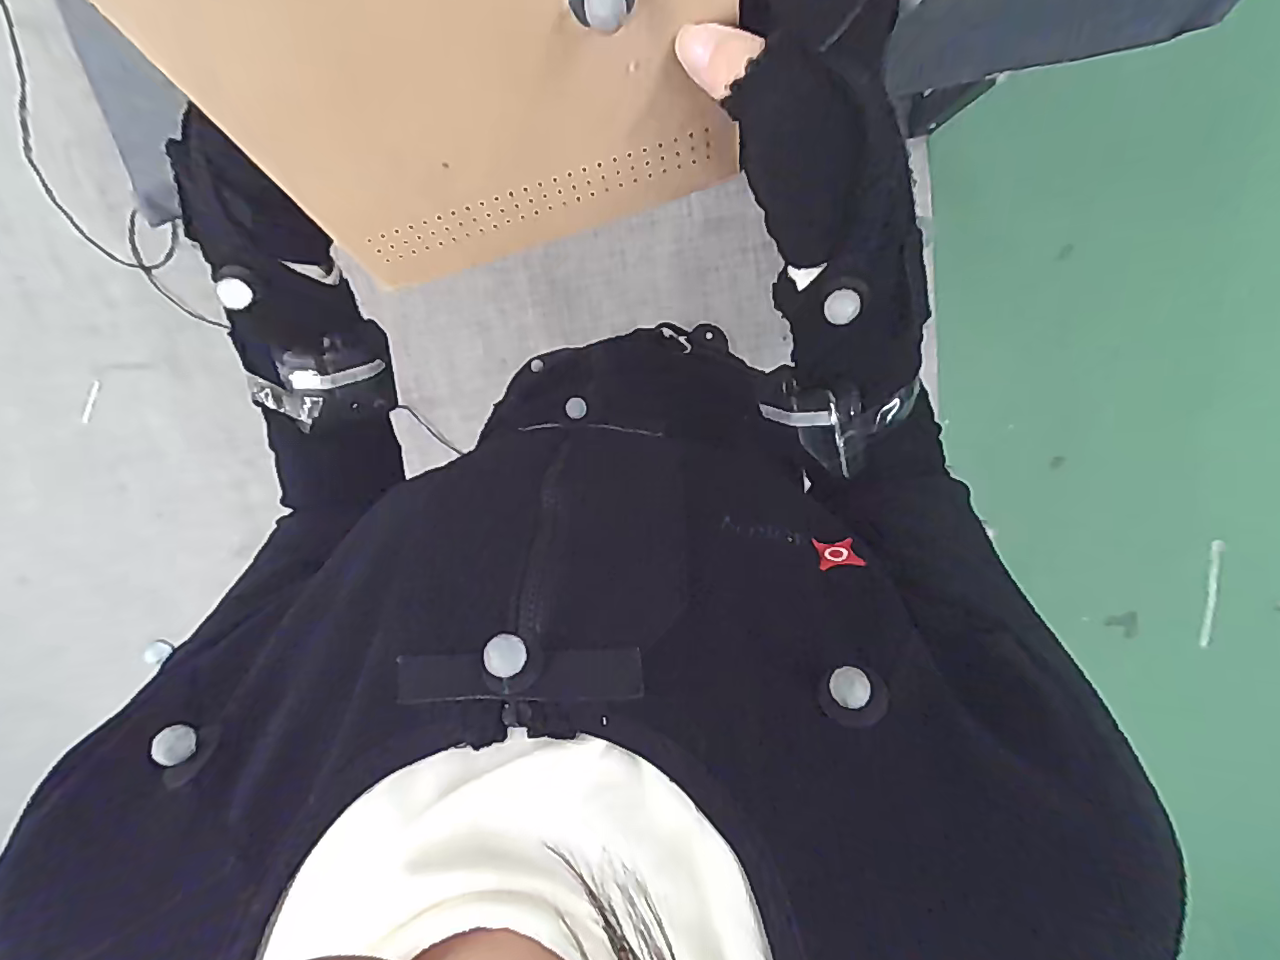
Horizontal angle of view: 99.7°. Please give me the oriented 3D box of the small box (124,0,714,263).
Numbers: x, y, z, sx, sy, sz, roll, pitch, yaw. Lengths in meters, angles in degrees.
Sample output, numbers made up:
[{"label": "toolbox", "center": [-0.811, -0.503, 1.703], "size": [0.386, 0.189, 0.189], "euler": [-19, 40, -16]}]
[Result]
[{"label": "small box", "center": [-0.072, -0.218, 0.203], "size": [0.179, 0.176, 0.168], "euler": [-15, 71, 5]}]
